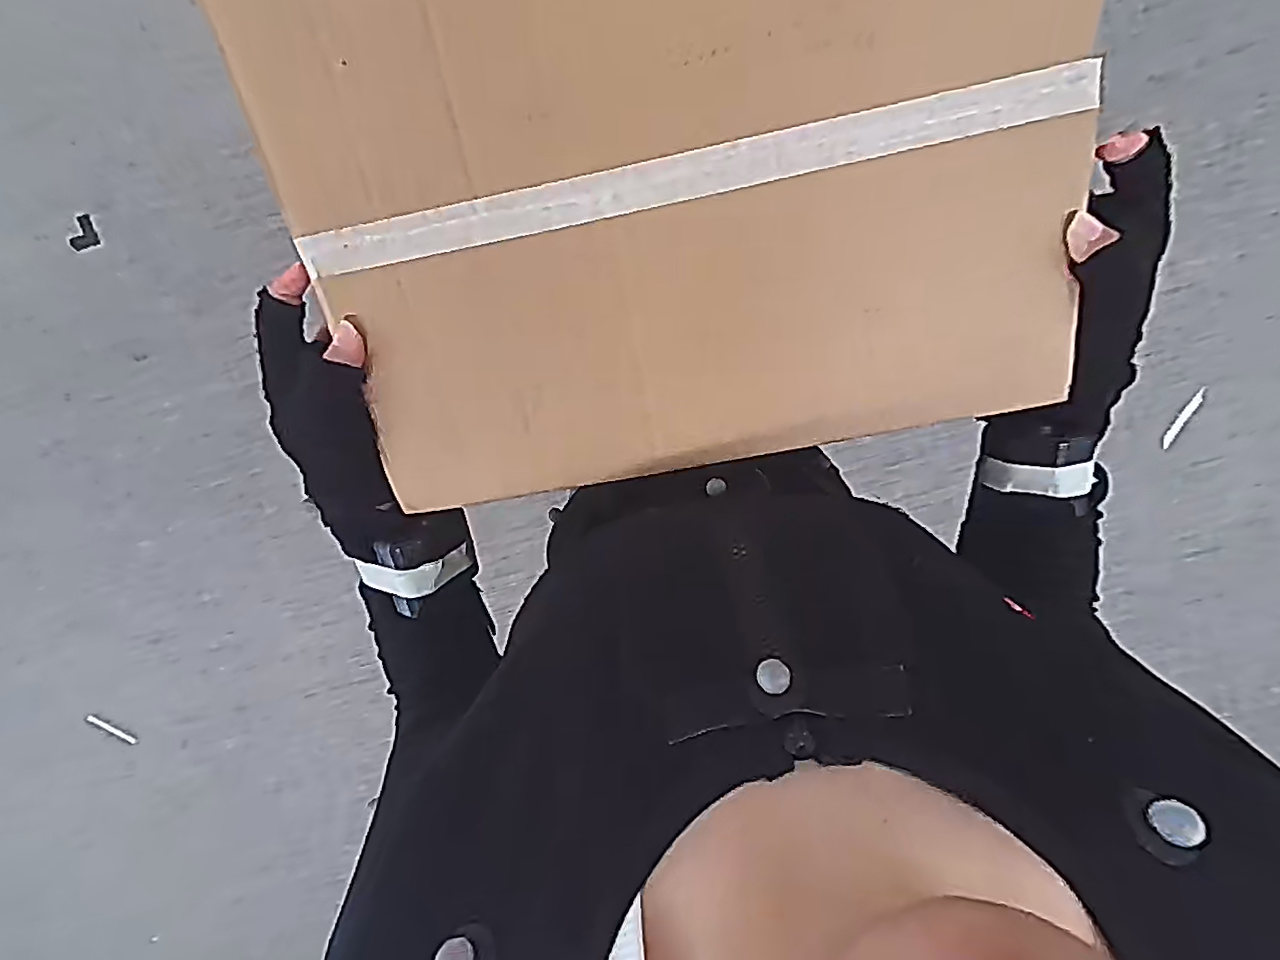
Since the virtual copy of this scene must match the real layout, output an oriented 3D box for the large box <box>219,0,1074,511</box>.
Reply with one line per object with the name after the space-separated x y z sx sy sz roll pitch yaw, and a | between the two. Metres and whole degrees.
0.020 -0.209 0.425 0.408 0.320 0.320 -10 111 4 | large box
